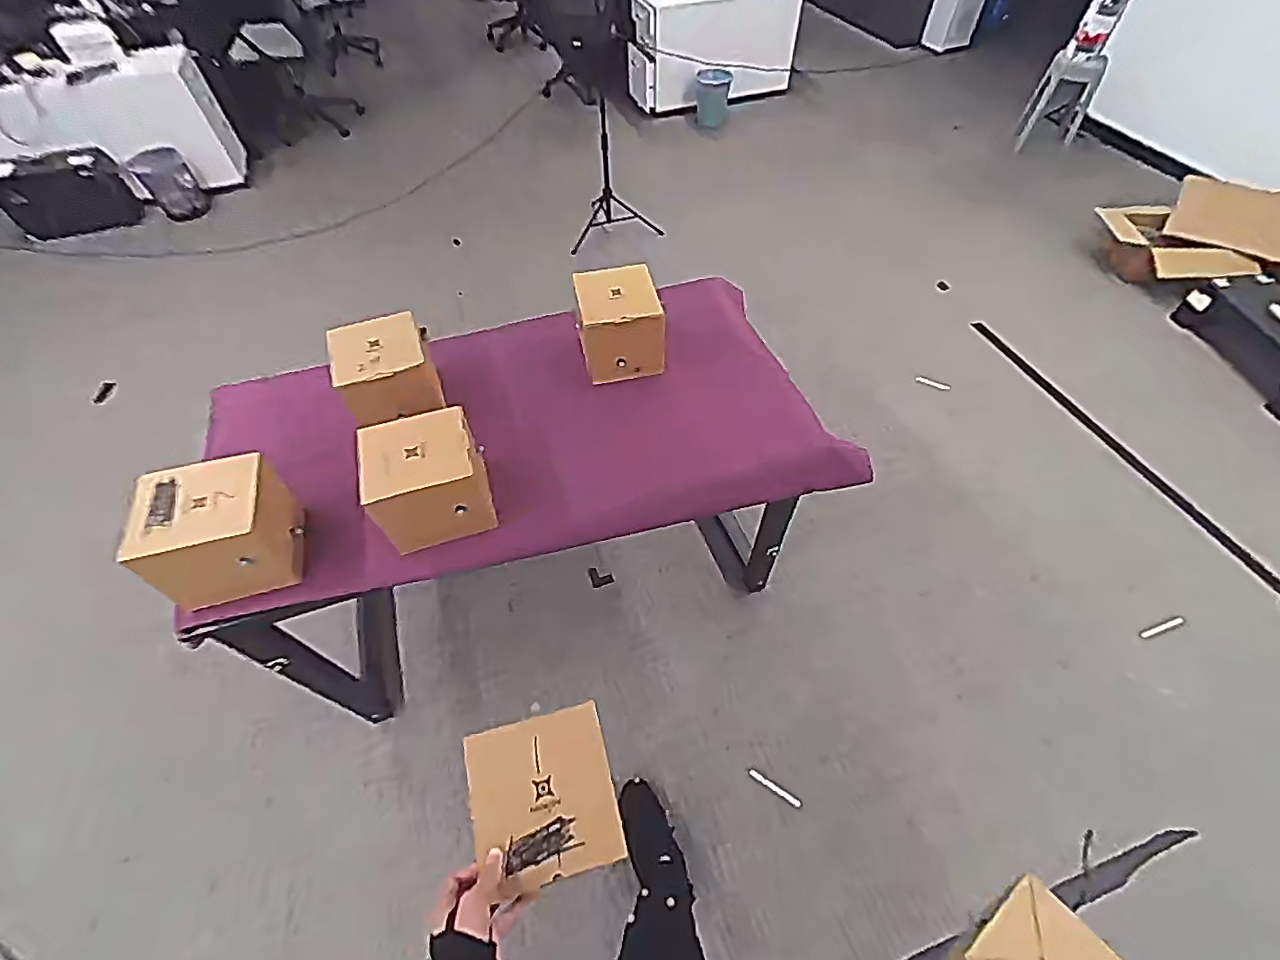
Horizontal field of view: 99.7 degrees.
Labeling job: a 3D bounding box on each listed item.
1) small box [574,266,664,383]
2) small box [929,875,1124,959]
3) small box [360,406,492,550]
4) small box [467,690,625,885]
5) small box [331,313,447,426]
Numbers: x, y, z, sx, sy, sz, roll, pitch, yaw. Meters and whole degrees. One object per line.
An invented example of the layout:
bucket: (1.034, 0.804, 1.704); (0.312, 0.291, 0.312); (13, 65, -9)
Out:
small box: (-0.048, -0.342, 1.198); (0.168, 0.176, 0.179); (-11, 56, -6)
small box: (0.454, 0.610, 0.631); (0.179, 0.176, 0.168); (-13, 38, -32)
small box: (-0.370, -0.001, 0.955); (0.179, 0.176, 0.168); (-15, 55, -11)
small box: (-0.124, 0.389, 0.717); (0.168, 0.176, 0.179); (-10, 69, -13)
small box: (-0.509, -0.209, 1.111); (0.168, 0.176, 0.179); (-19, 56, -12)
